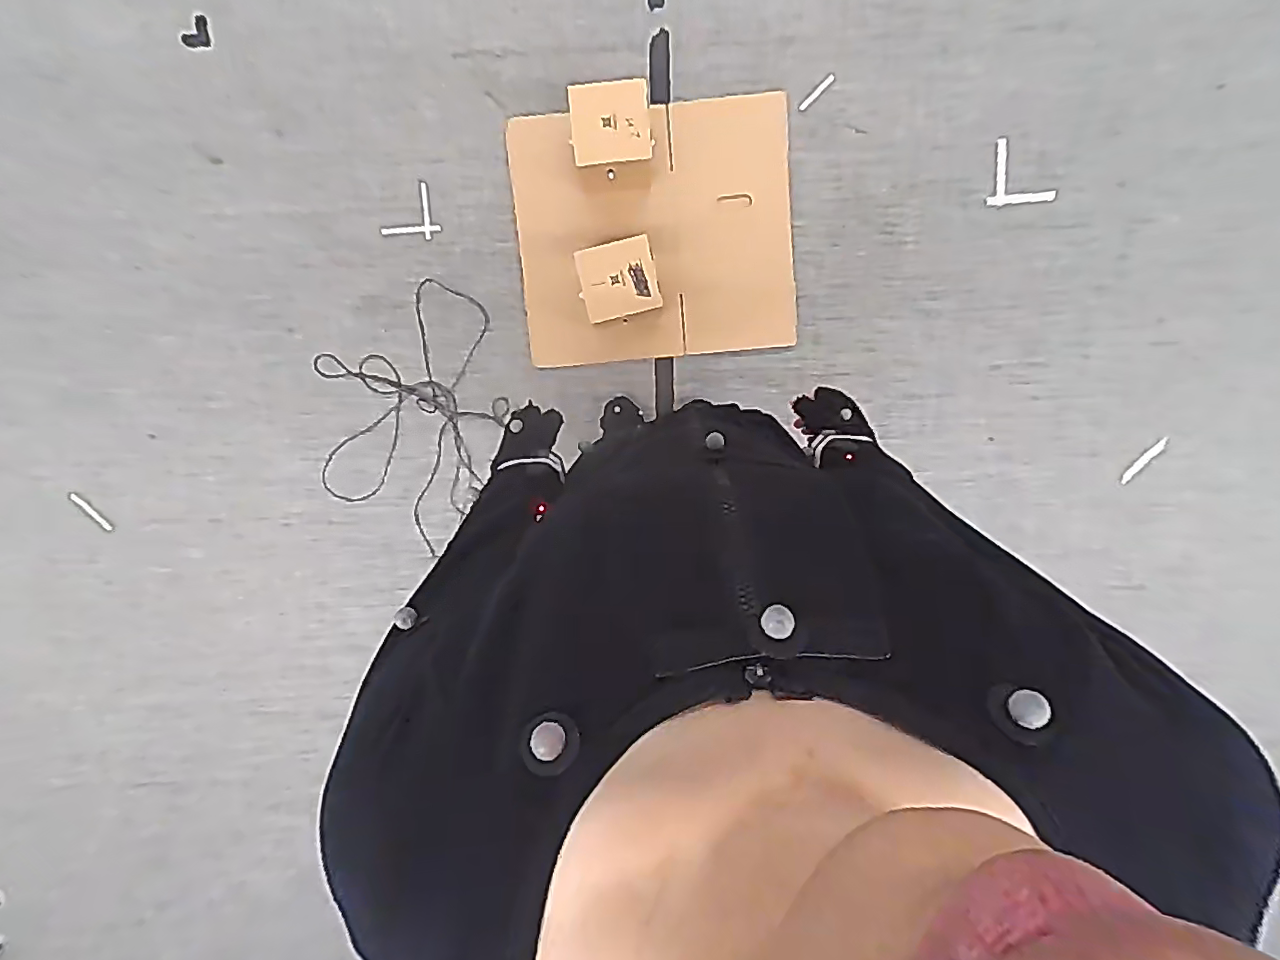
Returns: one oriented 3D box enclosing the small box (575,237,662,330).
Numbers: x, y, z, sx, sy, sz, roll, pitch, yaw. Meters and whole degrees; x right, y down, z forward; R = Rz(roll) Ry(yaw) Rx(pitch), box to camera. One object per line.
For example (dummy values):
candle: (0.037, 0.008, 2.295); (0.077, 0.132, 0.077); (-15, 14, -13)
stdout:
small box: (-0.051, -0.474, 1.326); (0.179, 0.176, 0.168); (-13, 99, 2)

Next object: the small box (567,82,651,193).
small box: (-0.067, -0.797, 1.275); (0.179, 0.176, 0.168); (-5, 99, 0)
